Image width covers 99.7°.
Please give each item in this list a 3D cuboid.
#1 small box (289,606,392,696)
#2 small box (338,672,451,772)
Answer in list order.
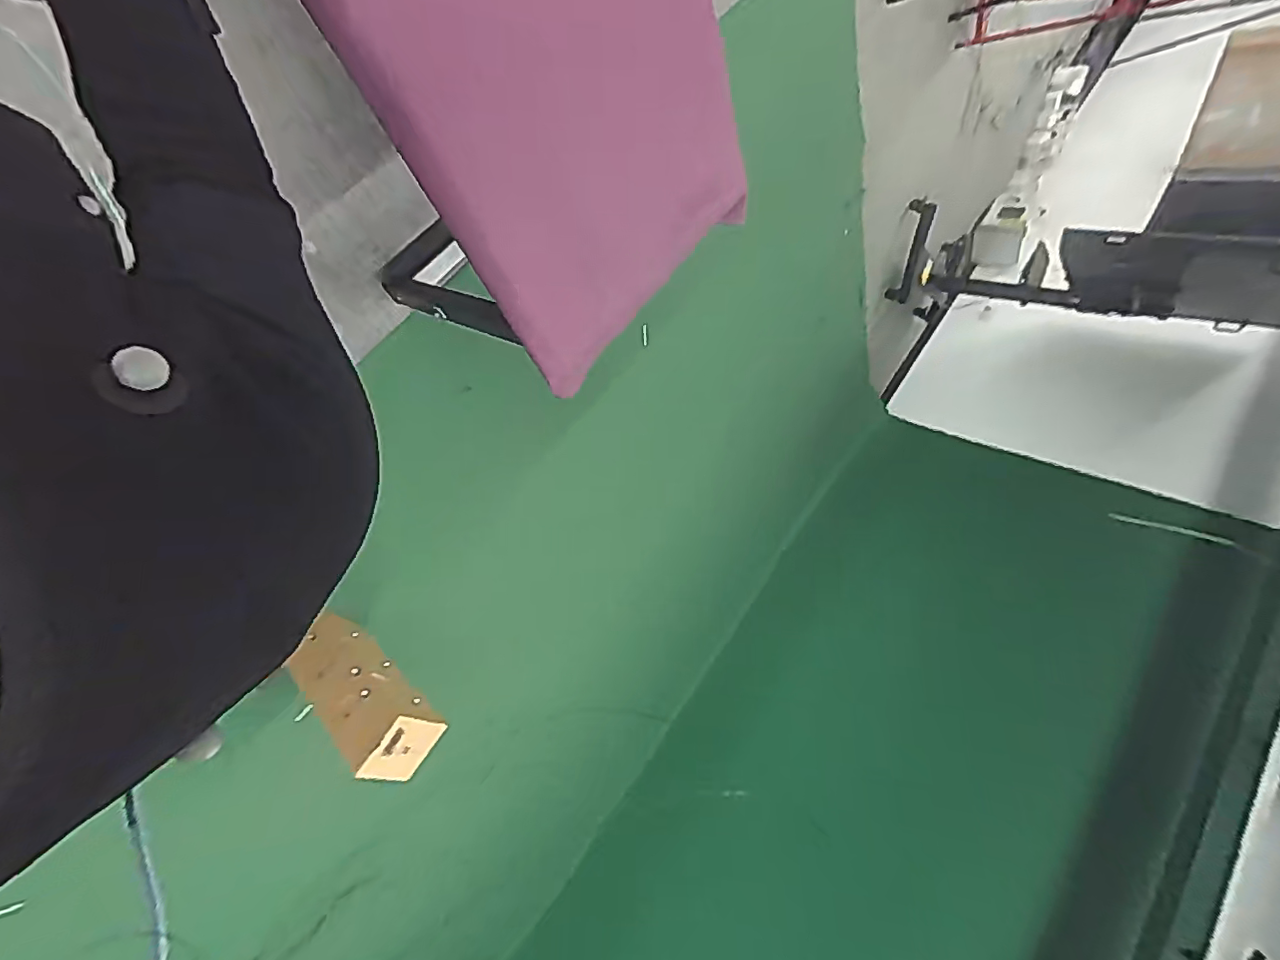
[{"bbox_3d":[-0.880,0.499,1.590,0.168,0.176,0.179,-51,141,-16],"label":"small box"},{"bbox_3d":[-0.639,0.624,1.404,0.168,0.176,0.179,-54,143,-11],"label":"small box"}]
